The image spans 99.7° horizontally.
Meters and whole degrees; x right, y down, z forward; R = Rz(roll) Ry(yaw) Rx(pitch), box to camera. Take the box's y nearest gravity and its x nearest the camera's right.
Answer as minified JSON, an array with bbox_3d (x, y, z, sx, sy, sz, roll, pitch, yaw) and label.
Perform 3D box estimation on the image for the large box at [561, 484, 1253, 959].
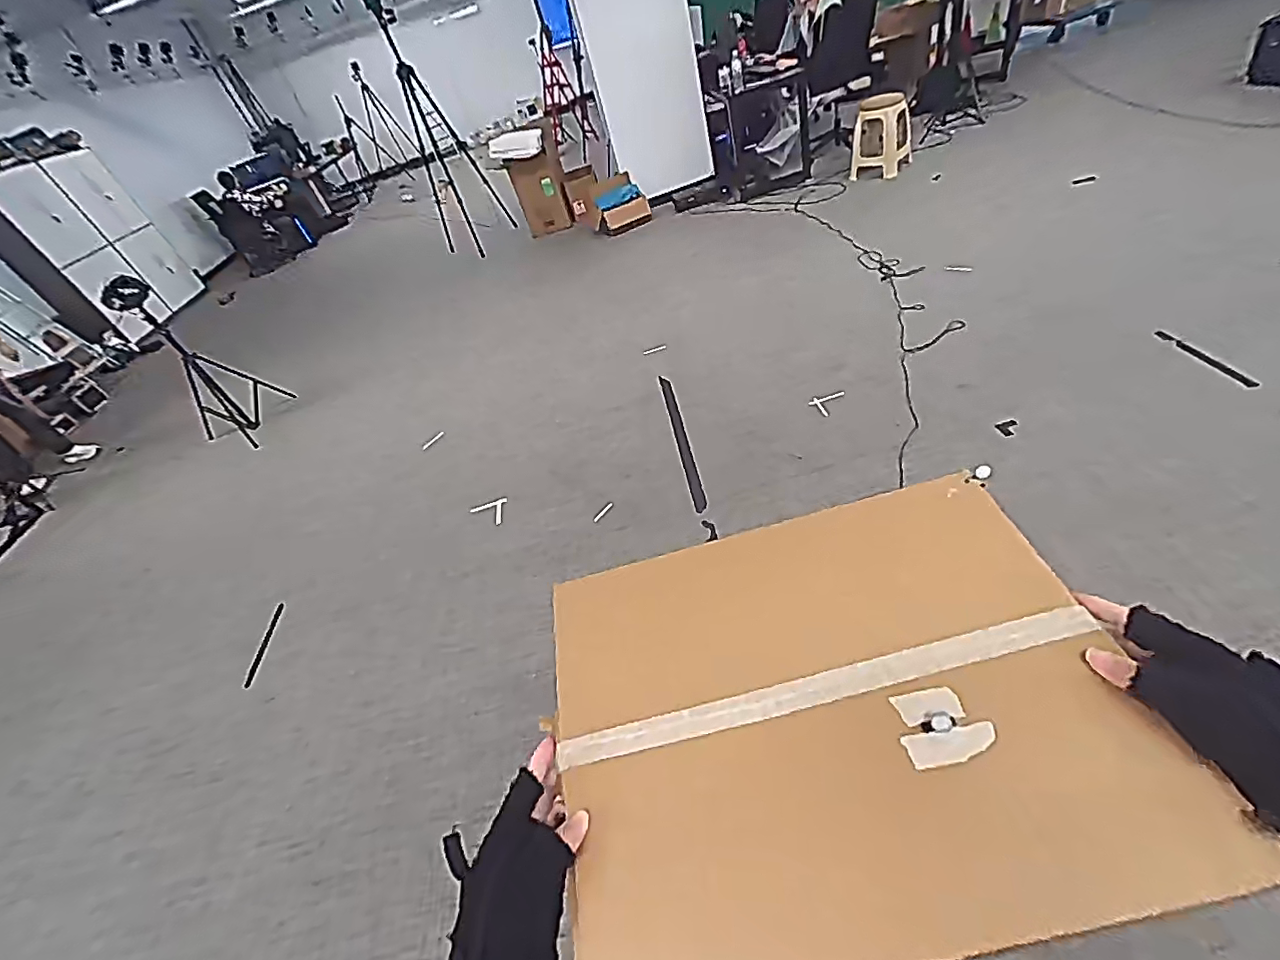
[{"bbox_3d":[0.169,0.263,0.525,0.408,0.320,0.320,-16,47,3],"label":"large box"}]
